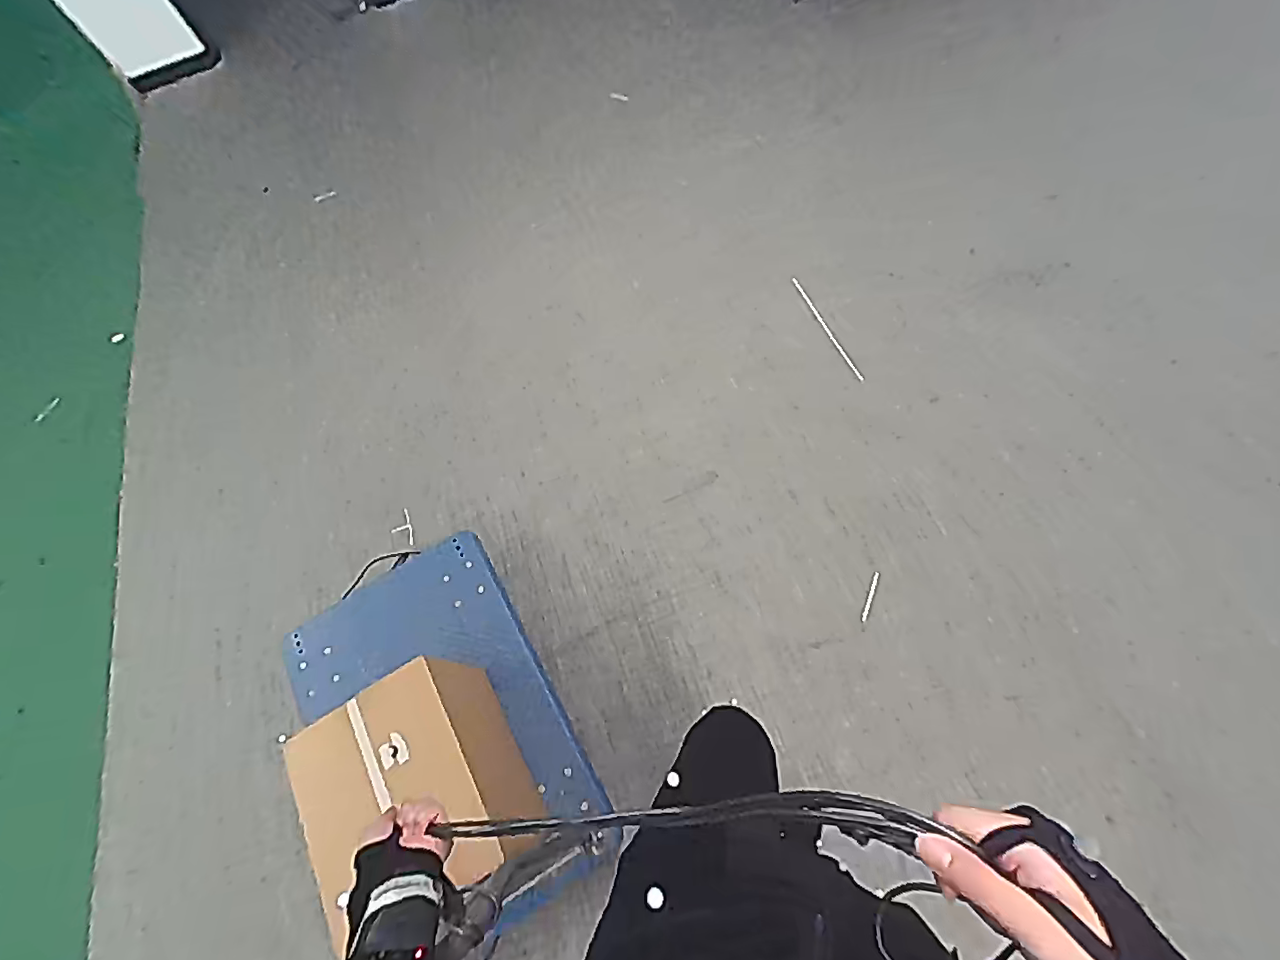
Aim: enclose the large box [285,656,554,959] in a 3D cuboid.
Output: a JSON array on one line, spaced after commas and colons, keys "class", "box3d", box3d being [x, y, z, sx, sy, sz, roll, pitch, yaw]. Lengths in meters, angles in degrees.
[{"class": "large box", "box3d": [-0.435, 0.635, 1.114, 0.320, 0.320, 0.408, -32, 65, -7]}]
